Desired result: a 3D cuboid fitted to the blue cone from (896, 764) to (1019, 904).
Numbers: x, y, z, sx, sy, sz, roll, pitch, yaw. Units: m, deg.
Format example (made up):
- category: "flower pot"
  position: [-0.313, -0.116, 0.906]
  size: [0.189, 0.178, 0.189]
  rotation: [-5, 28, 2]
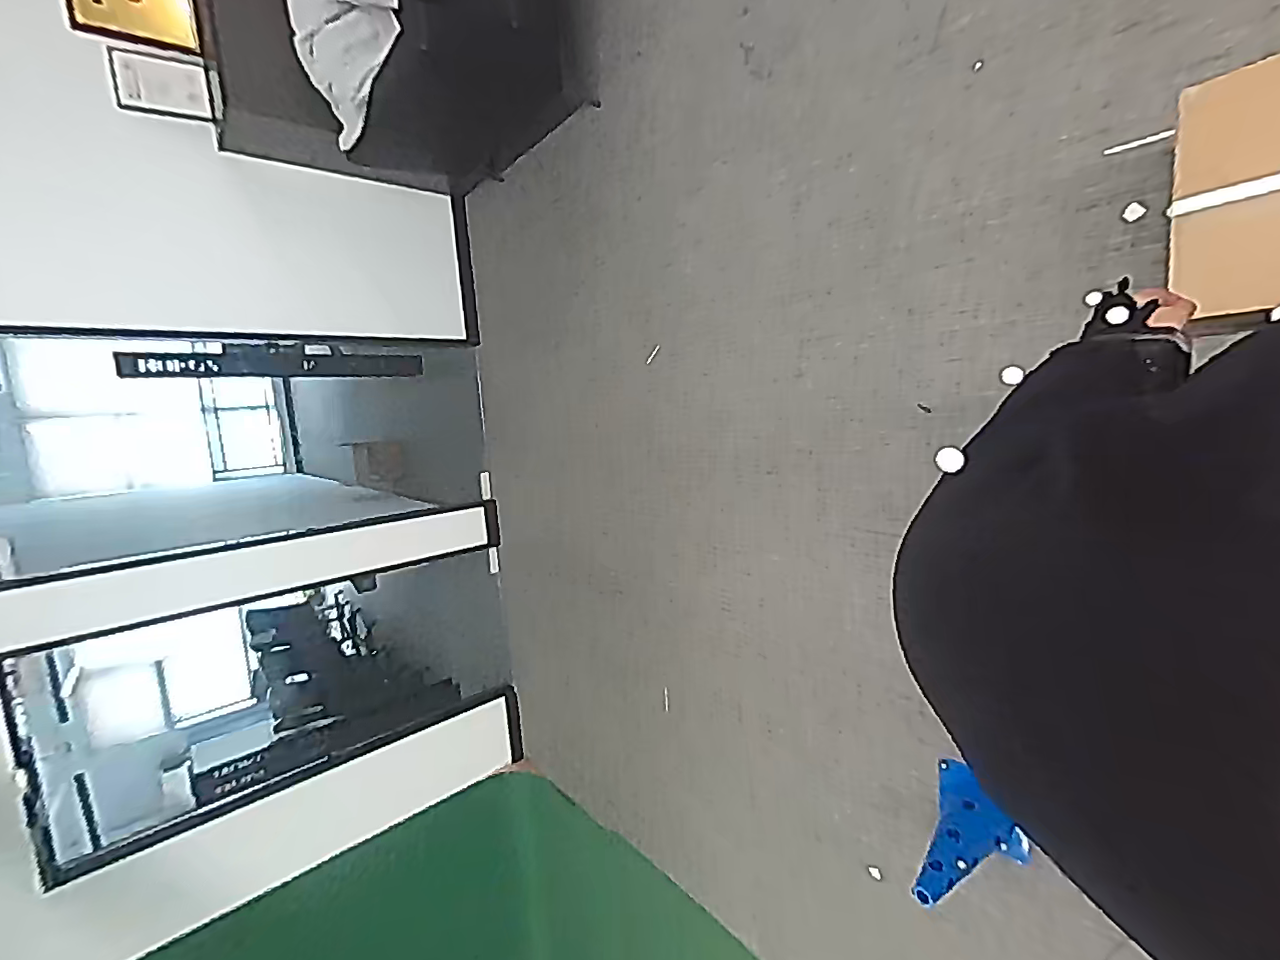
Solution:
- category: "blue cone"
  position: [0.700, 0.844, 1.235]
  size: [0.192, 0.380, 0.193]
  rotation: [6, 101, 50]
